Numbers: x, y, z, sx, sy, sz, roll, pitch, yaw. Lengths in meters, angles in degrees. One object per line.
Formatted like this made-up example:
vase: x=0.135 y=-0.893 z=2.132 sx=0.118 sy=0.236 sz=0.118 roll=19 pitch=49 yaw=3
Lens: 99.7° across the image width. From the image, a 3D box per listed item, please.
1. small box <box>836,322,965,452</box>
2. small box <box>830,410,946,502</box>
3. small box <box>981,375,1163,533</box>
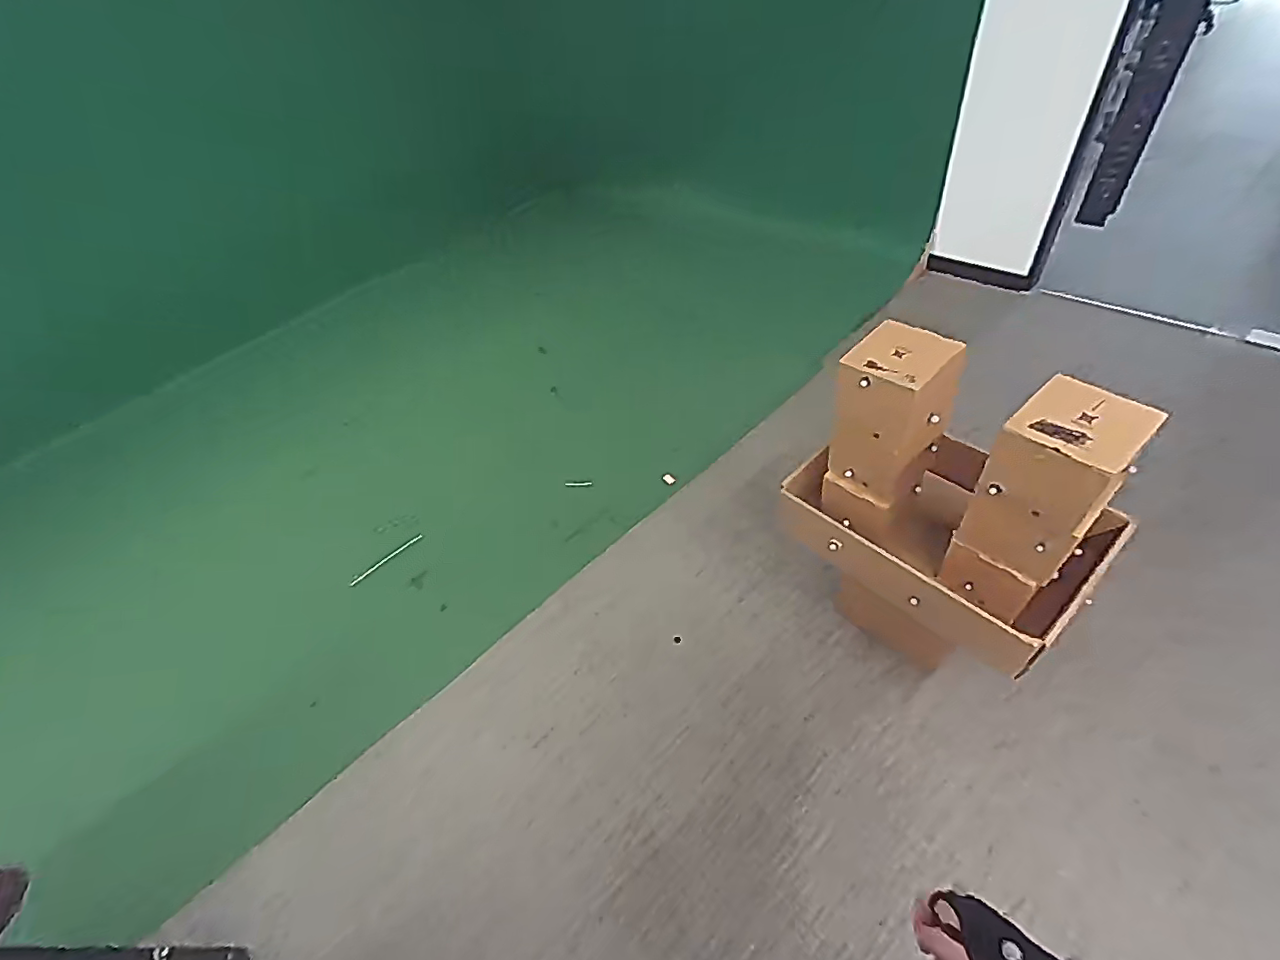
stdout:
small box: x=0.523 y=-0.191 z=1.112 sx=0.179 sy=0.176 sz=0.168 roll=-38 pitch=50 yaw=-21
small box: x=0.553 y=-0.085 z=1.232 sx=0.179 sy=0.176 sz=0.168 roll=-36 pitch=50 yaw=-18
small box: x=0.721 y=-0.042 z=0.927 sx=0.179 sy=0.176 sz=0.168 roll=-36 pitch=52 yaw=-18
